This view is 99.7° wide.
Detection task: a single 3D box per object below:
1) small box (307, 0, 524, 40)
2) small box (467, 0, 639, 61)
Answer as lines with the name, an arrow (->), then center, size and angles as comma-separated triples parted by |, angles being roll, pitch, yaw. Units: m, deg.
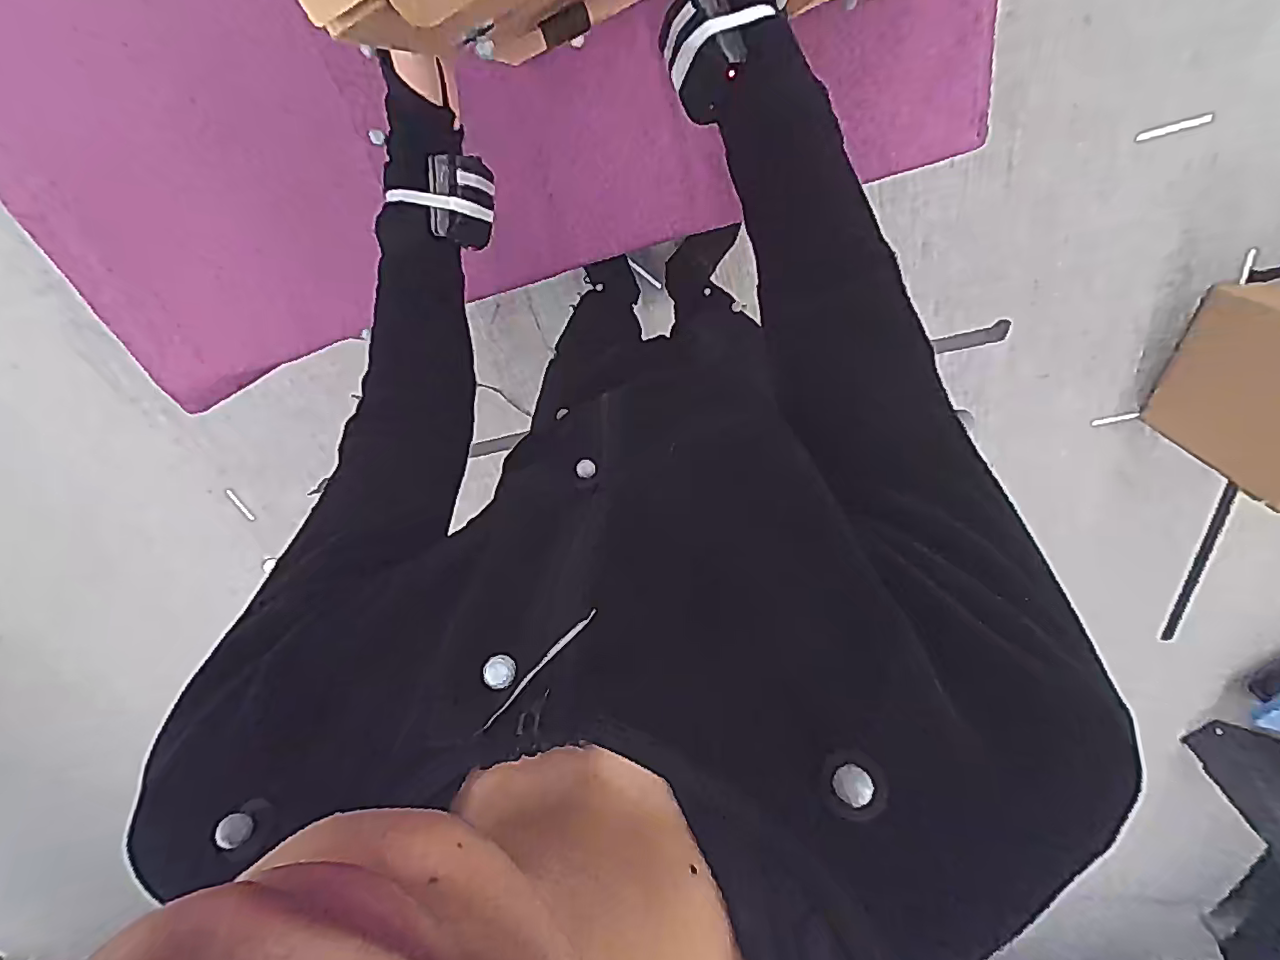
small box -> -0.088, -0.319, 0.223 | 0.168, 0.176, 0.179 | -20, 122, 13
small box -> -0.099, -0.515, 0.485 | 0.168, 0.176, 0.179 | -17, 123, 13
